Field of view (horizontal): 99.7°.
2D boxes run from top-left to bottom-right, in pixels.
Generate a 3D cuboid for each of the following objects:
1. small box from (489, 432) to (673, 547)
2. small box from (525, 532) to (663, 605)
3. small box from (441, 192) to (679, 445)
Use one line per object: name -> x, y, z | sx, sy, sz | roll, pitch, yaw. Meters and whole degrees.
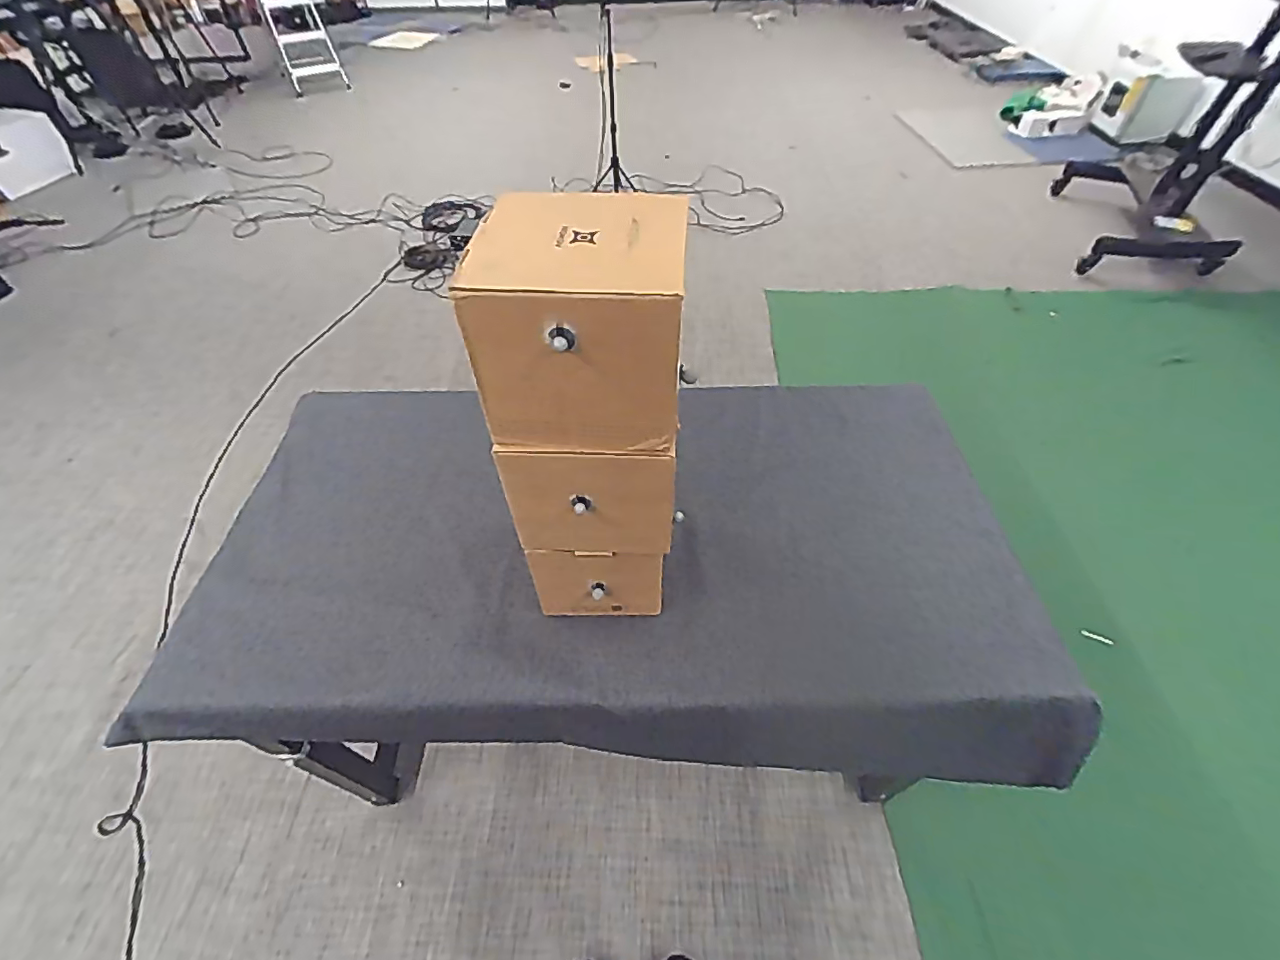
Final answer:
small box -> -0.051, -0.035, 0.621 | 0.179, 0.176, 0.168 | 0, 50, 4
small box -> -0.053, 0.065, 0.753 | 0.168, 0.176, 0.179 | -2, 50, 1
small box -> -0.054, -0.146, 0.503 | 0.179, 0.176, 0.168 | 2, 51, 3
